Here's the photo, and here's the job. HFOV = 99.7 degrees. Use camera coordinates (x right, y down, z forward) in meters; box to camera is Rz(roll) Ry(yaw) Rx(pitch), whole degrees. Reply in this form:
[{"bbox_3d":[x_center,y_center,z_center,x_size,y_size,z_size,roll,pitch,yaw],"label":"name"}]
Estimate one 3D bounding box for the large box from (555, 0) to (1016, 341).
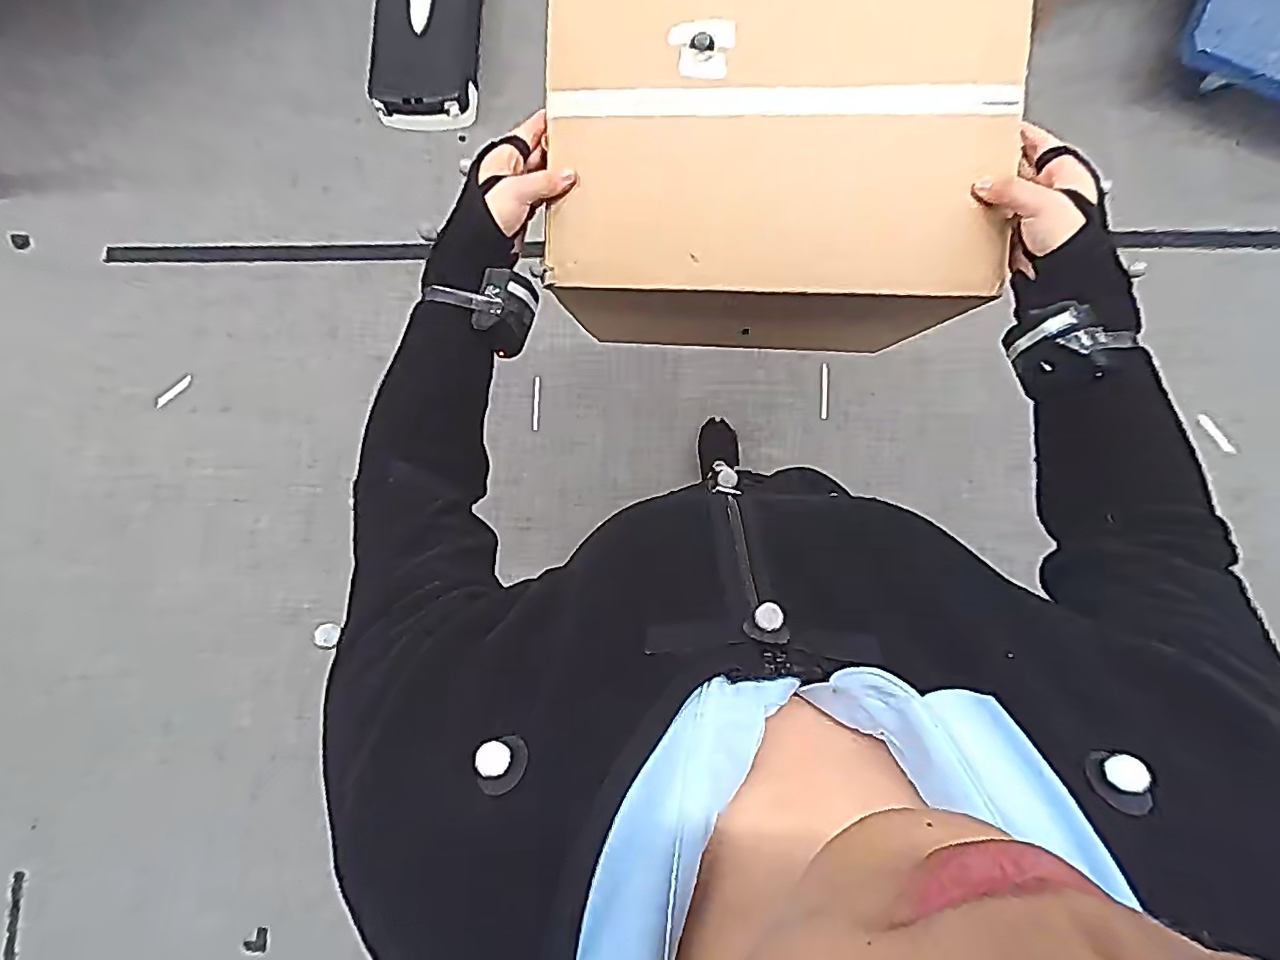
[{"bbox_3d":[0.135,-0.341,0.632,0.408,0.320,0.320,2,94,5],"label":"large box"}]
